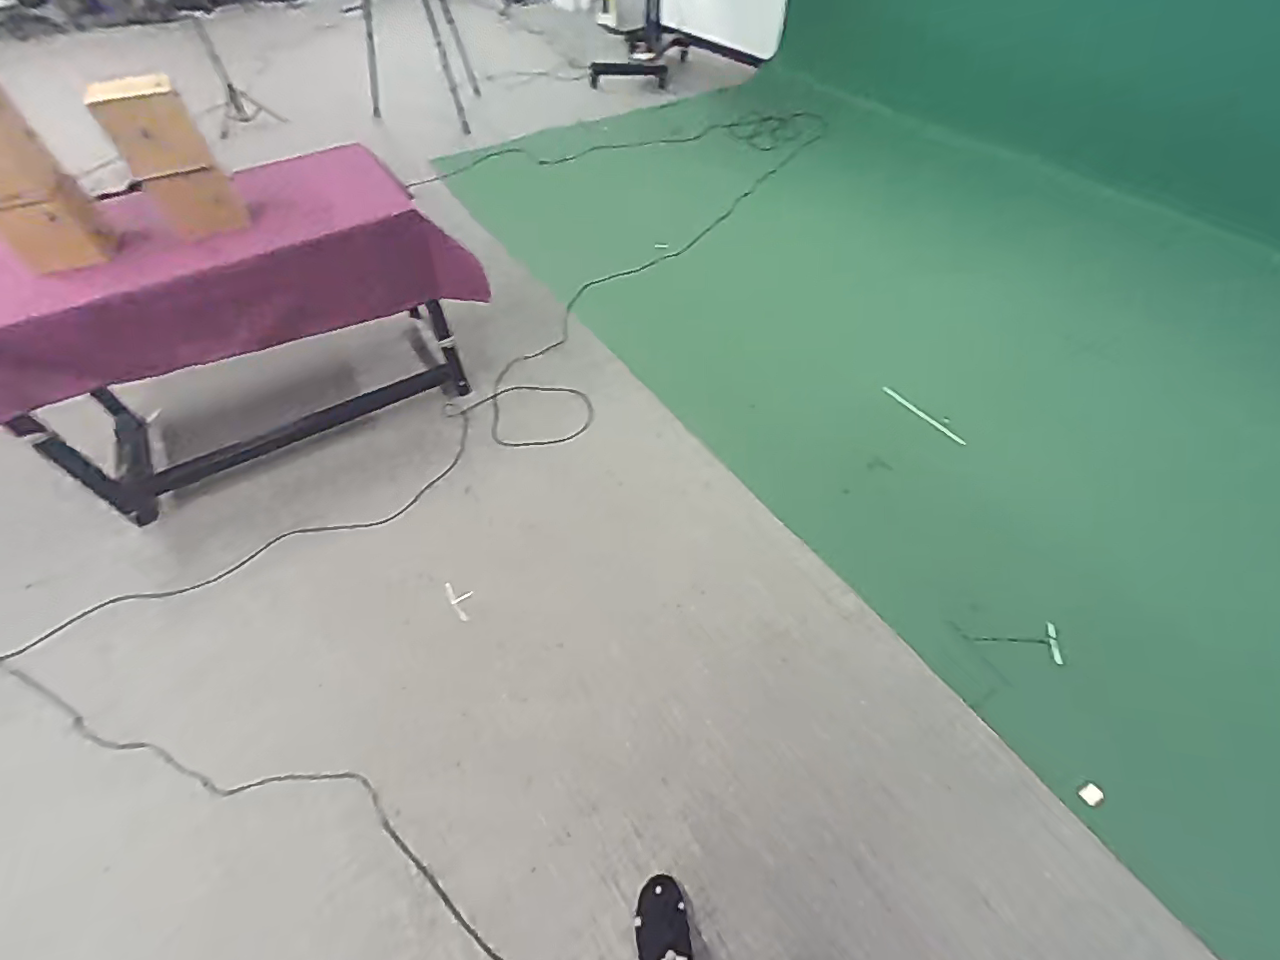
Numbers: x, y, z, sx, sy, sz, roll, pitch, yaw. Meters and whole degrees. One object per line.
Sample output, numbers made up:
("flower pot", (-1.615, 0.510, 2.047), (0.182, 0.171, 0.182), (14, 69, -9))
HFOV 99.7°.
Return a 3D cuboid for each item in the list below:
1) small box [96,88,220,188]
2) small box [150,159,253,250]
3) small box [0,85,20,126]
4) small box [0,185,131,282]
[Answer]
("small box", (-1.229, -0.877, 1.392), (0.179, 0.176, 0.168), (-24, 54, -17))
("small box", (-1.226, -0.779, 1.524), (0.179, 0.176, 0.168), (-26, 54, -18))
("small box", (-1.539, -0.856, 1.172), (0.179, 0.176, 0.168), (-12, 51, -8))
("small box", (-1.513, -0.644, 1.423), (0.179, 0.176, 0.168), (-18, 53, -13))
